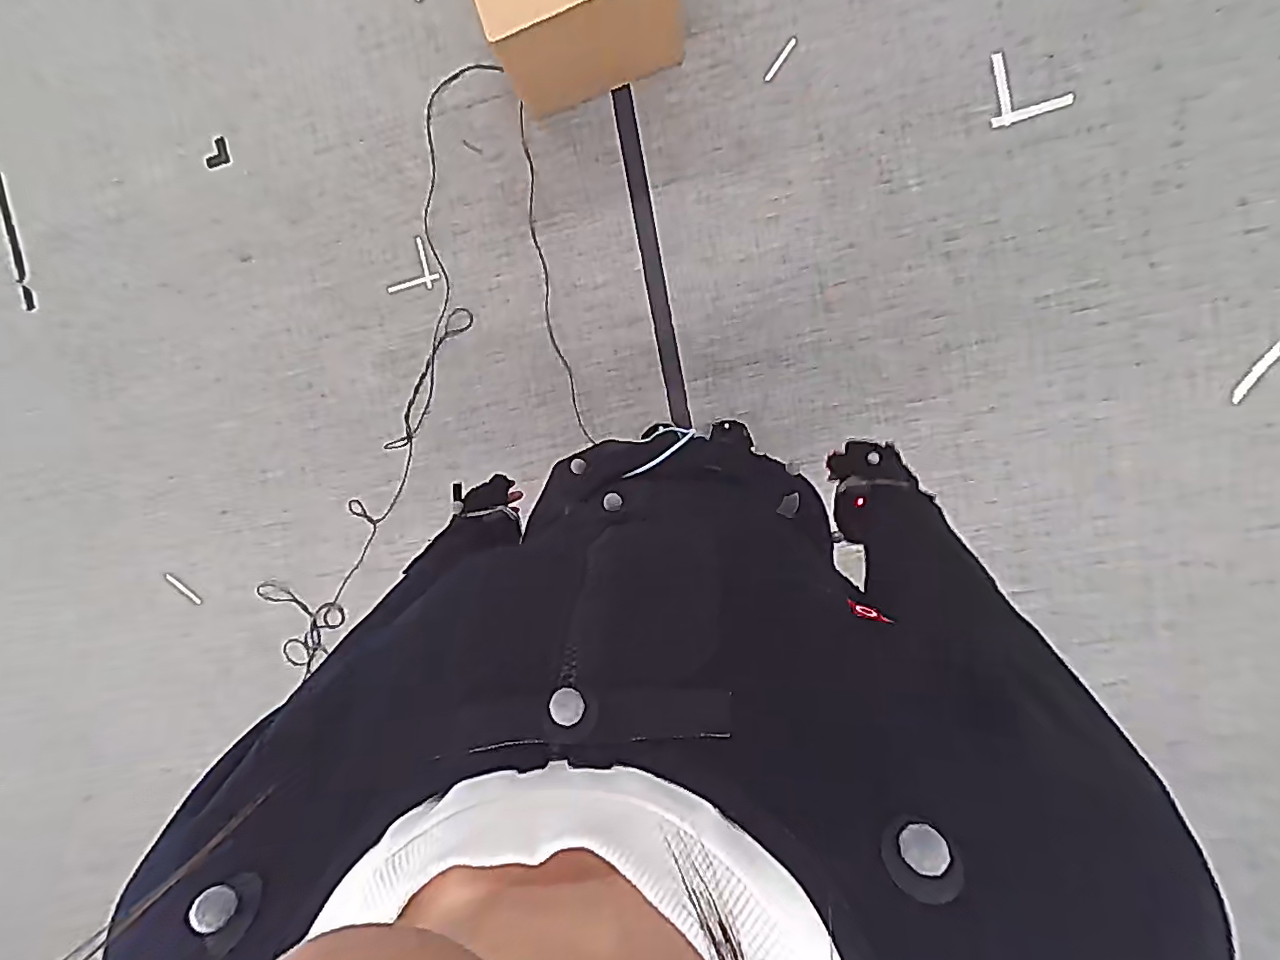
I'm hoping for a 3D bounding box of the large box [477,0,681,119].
[{"bbox_3d":[-0.146,-1.099,1.193,0.408,0.320,0.320,-17,95,8],"label":"large box"}]
